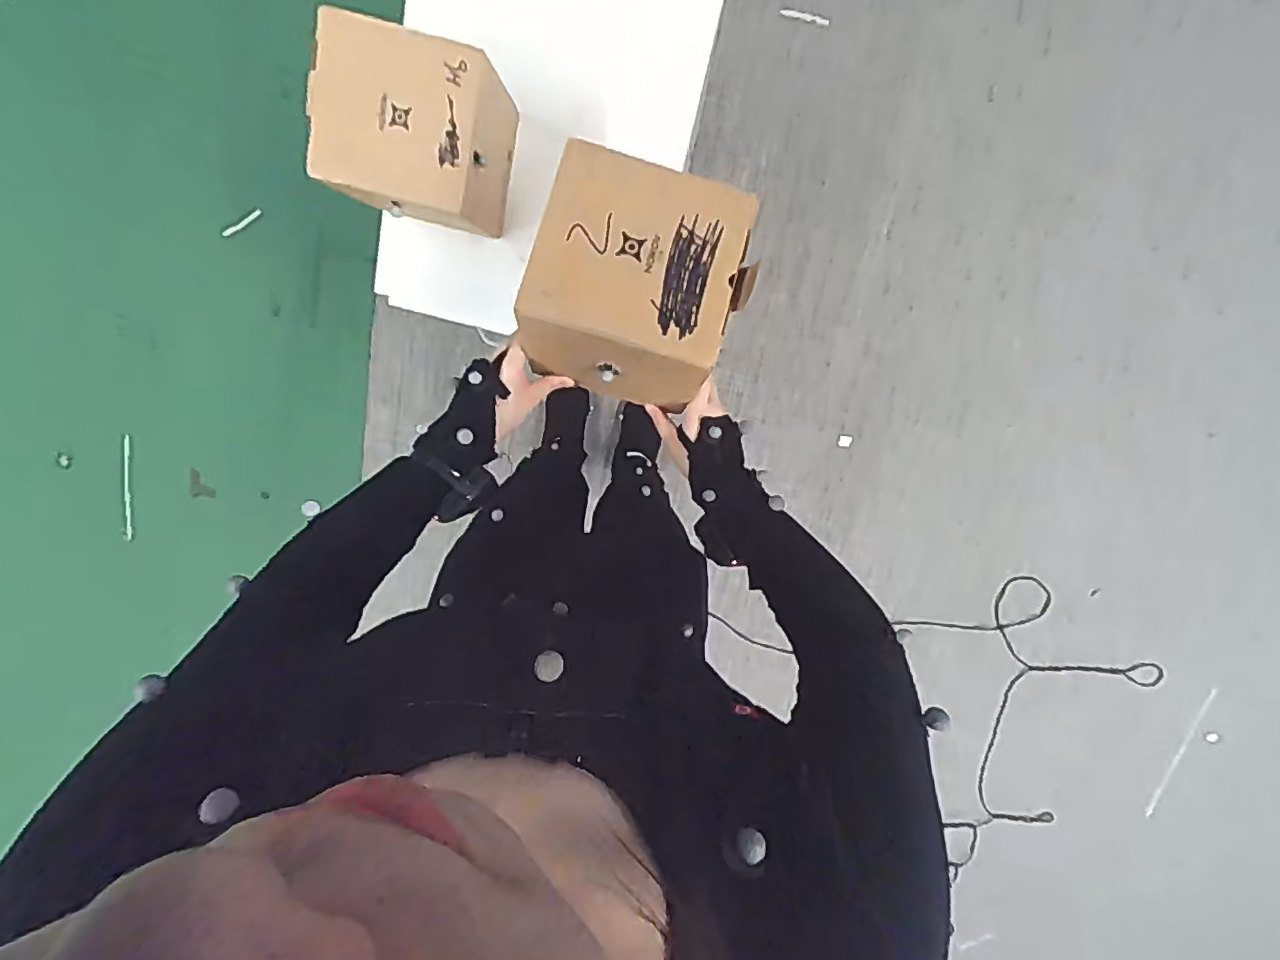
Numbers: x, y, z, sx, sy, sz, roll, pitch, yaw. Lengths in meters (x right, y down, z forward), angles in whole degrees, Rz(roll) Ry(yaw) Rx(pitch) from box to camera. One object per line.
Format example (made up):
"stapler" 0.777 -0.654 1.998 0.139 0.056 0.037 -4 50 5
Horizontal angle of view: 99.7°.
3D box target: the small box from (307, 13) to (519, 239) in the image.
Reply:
"small box" -0.264 -0.409 0.659 0.179 0.176 0.168 13 105 -3
